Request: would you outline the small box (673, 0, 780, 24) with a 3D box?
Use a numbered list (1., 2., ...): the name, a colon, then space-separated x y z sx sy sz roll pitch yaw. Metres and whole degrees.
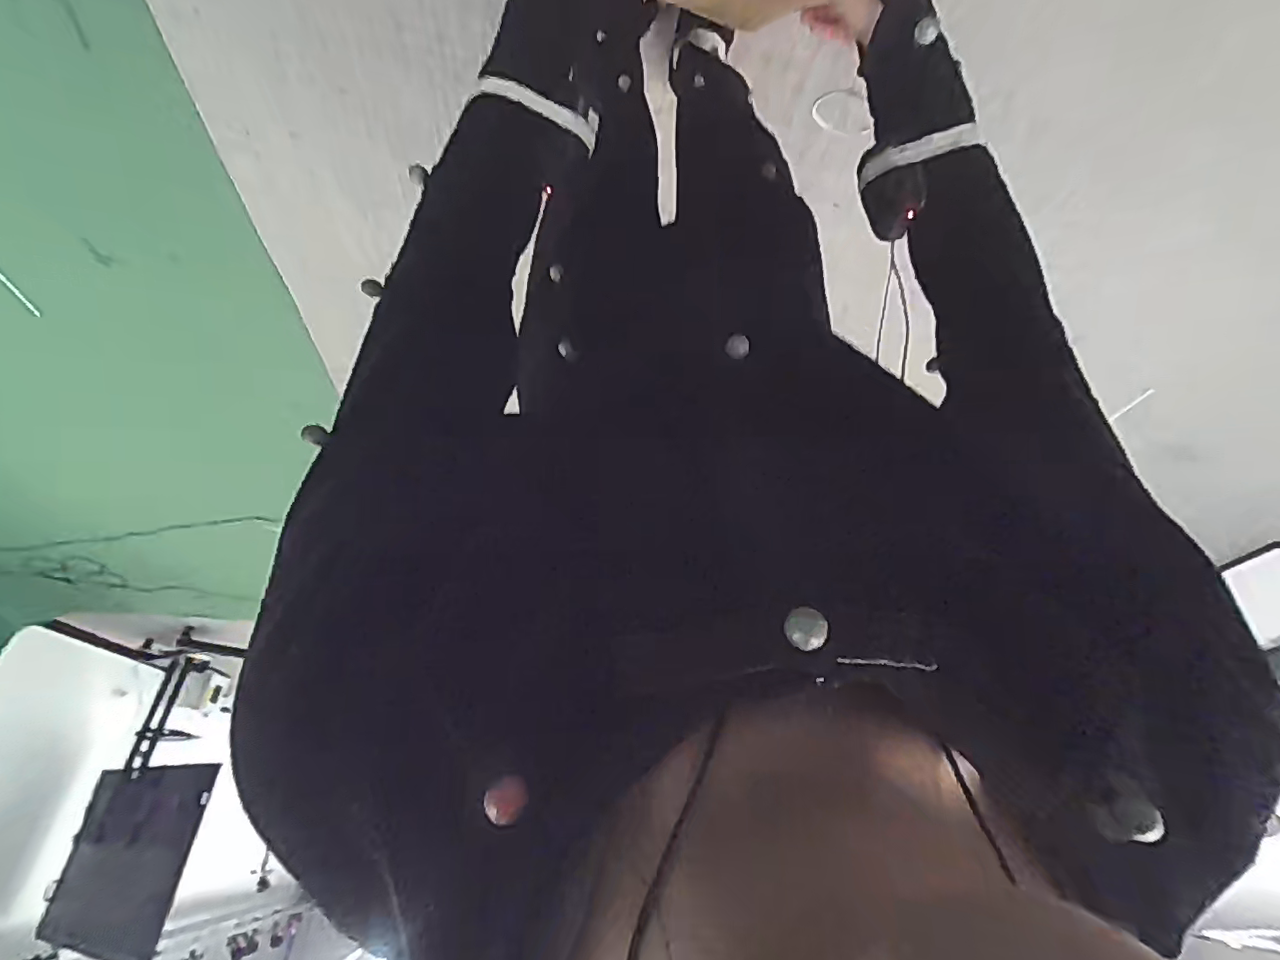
1. small box: 0.066 -0.509 0.439 0.179 0.176 0.168 7 120 -18
